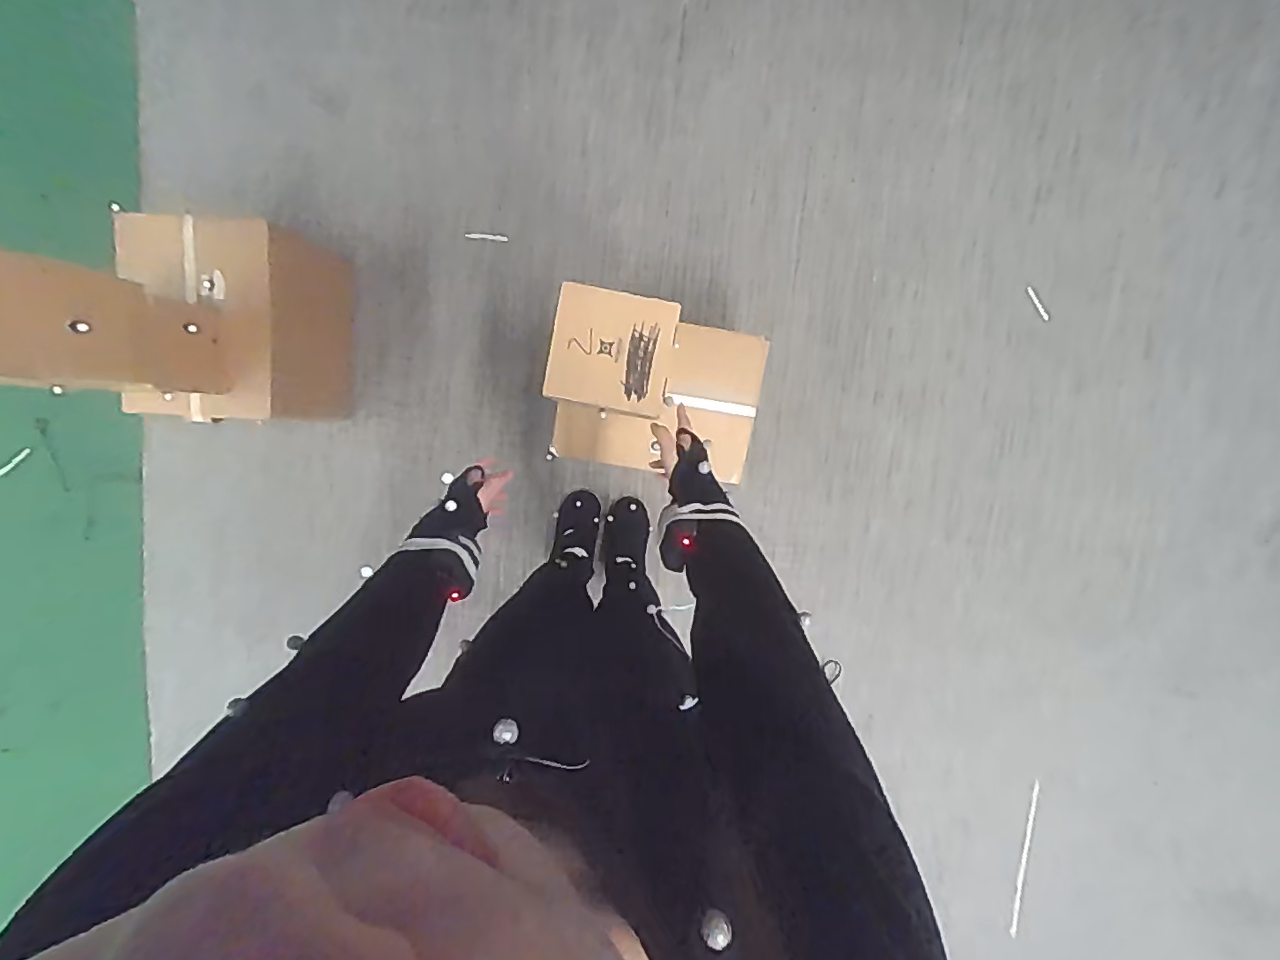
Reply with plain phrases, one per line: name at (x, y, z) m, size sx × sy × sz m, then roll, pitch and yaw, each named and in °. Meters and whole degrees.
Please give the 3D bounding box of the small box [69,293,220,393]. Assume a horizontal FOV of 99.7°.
small box at (-0.928, -0.253, 1.012) m, size 0.179 × 0.176 × 0.168 m, roll 2°, pitch 96°, yaw 1°

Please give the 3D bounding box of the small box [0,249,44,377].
small box at (-0.926, -0.223, 0.685) m, size 0.168 × 0.176 × 0.179 m, roll 0°, pitch 97°, yaw 0°

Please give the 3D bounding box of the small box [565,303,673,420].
small box at (-0.037, -0.212, 1.017) m, size 0.168 × 0.176 × 0.179 m, roll 10°, pitch 94°, yaw -1°

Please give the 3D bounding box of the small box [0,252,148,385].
small box at (-0.927, -0.242, 0.849) m, size 0.168 × 0.176 × 0.179 m, roll -2°, pitch 95°, yaw 0°

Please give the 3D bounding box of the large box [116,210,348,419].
large box at (-0.906, -0.348, 1.247) m, size 0.320 × 0.320 × 0.408 m, roll 4°, pitch 95°, yaw 0°
